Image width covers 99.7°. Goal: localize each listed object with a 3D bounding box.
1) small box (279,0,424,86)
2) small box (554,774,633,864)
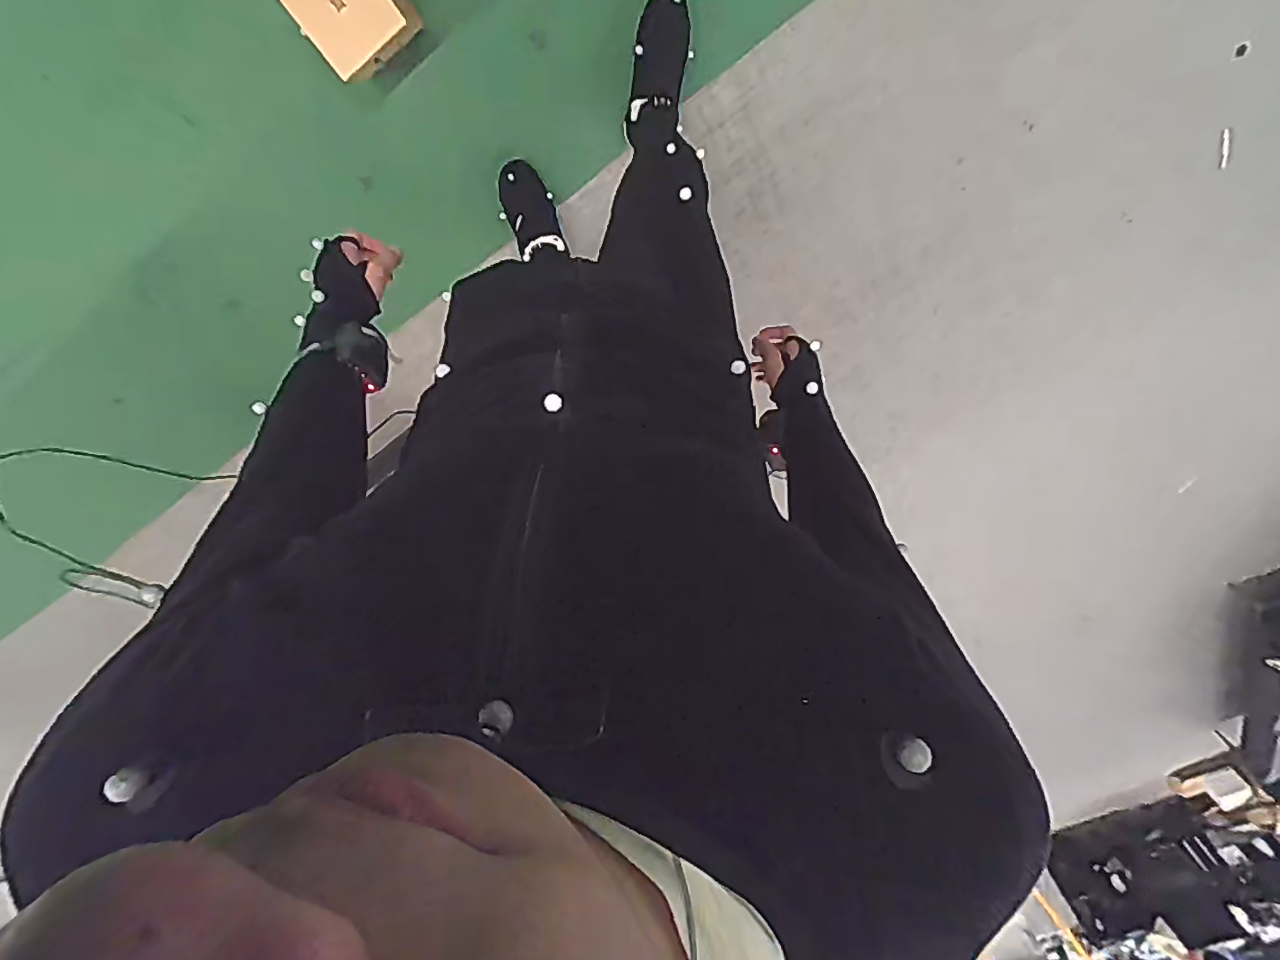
[{"bbox_3d":[-0.538,-0.888,1.016,0.168,0.176,0.179,-29,125,15],"label":"small box"},{"bbox_3d":[-0.141,1.030,1.646,0.179,0.176,0.168,-35,125,18],"label":"small box"}]
